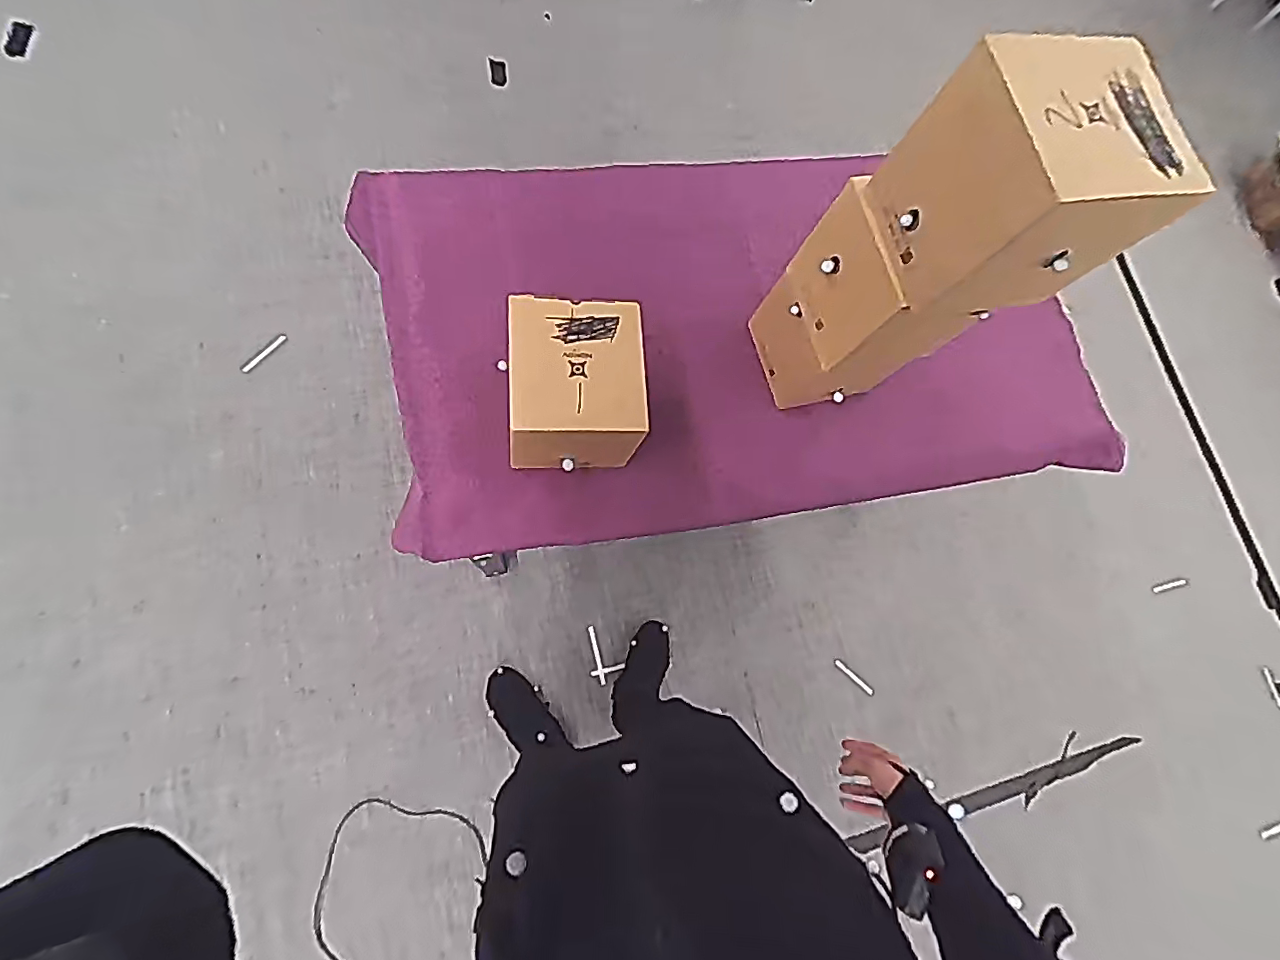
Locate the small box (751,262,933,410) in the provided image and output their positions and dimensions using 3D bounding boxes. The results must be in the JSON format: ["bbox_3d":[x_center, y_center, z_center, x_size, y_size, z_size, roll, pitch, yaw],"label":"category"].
[{"bbox_3d":[0.300,-0.224,0.836,0.179,0.176,0.168,-13,78,-15],"label":"small box"}]

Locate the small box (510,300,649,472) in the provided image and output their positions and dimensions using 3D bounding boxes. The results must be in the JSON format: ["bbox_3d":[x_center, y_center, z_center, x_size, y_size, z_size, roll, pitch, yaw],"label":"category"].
[{"bbox_3d":[-0.090,-0.116,0.727,0.168,0.176,0.179,-1,77,-12],"label":"small box"}]

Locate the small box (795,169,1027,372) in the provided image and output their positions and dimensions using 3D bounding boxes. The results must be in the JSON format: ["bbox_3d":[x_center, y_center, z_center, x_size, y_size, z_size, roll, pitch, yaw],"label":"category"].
[{"bbox_3d":[0.317,-0.250,0.675,0.179,0.176,0.168,-13,79,-15],"label":"small box"}]
